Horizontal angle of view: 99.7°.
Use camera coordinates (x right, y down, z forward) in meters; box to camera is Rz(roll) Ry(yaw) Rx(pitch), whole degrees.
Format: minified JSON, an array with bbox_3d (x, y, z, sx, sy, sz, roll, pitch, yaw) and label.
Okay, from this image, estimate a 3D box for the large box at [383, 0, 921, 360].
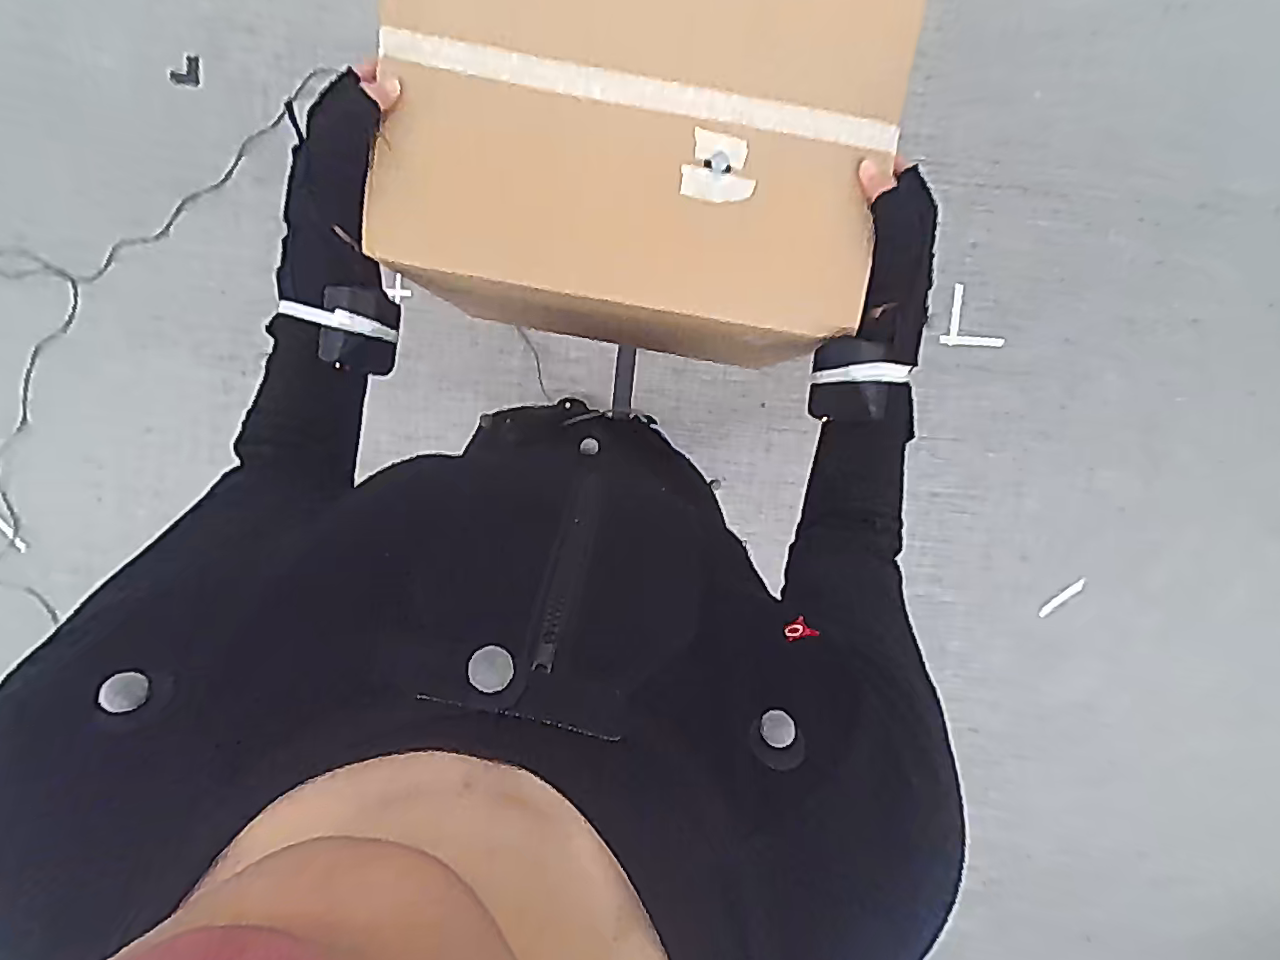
[{"bbox_3d":[0.002,-0.324,0.578,0.408,0.320,0.320,10,98,-4],"label":"large box"}]
